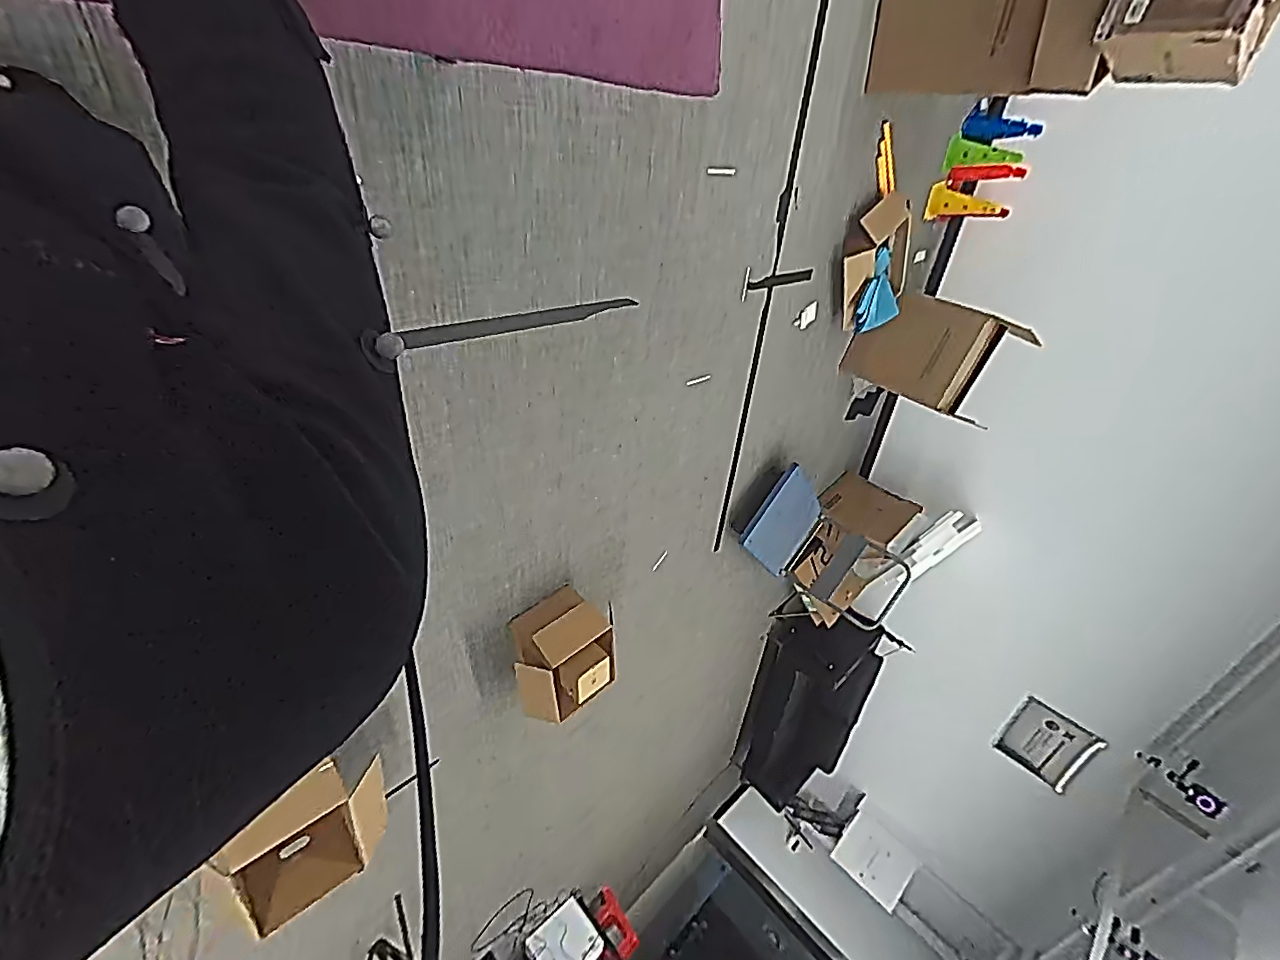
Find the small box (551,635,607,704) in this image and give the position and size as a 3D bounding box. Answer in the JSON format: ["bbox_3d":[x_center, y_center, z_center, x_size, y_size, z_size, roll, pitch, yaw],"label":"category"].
[{"bbox_3d":[-0.256,0.789,2.264,0.168,0.176,0.179,-28,135,-36],"label":"small box"}]
